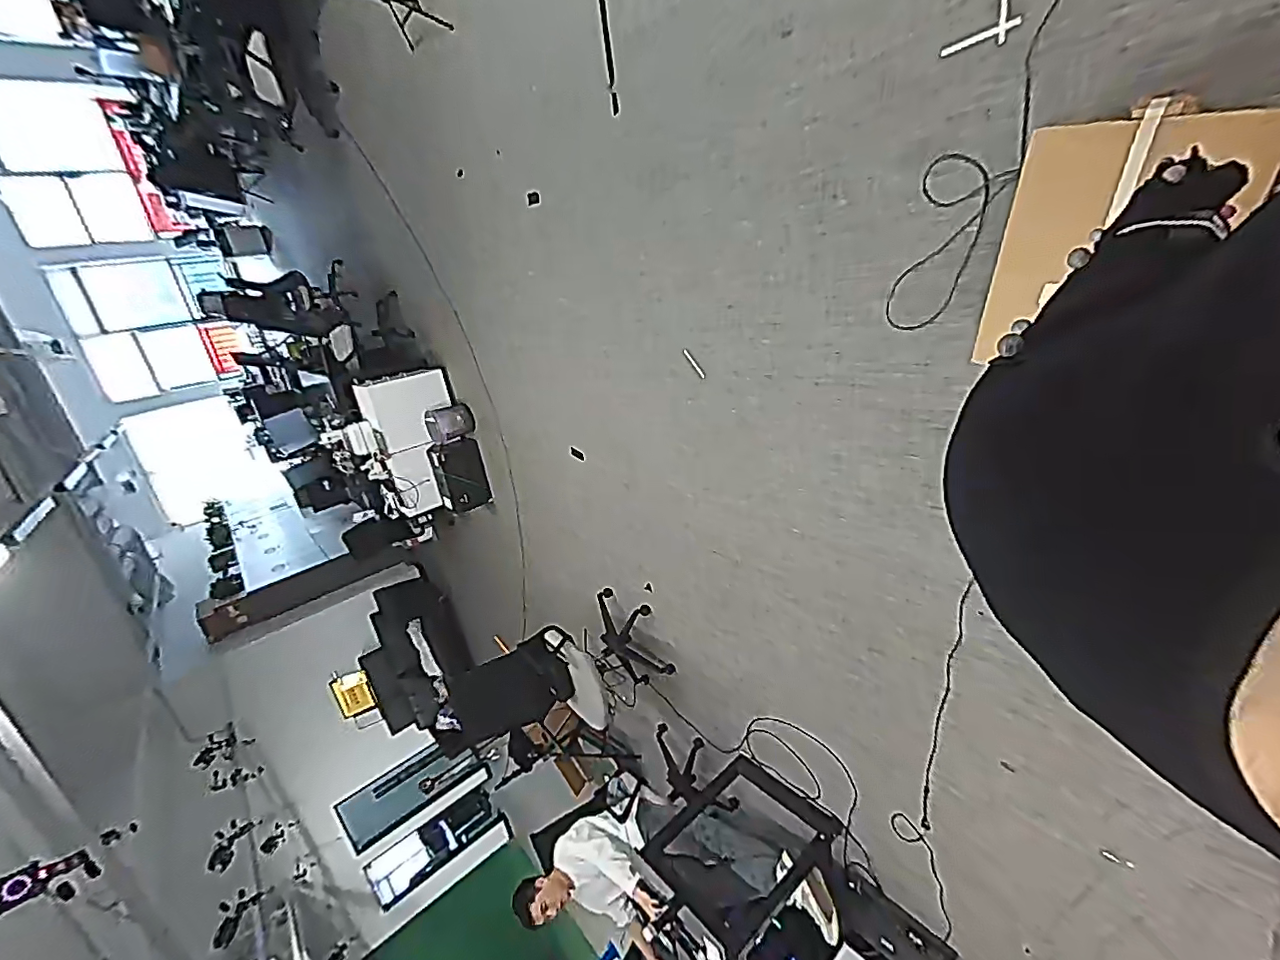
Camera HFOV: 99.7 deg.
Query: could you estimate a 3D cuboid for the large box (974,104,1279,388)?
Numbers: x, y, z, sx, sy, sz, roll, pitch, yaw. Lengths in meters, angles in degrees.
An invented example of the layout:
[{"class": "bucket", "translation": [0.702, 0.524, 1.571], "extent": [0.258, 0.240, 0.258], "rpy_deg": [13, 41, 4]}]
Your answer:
[{"class": "large box", "translation": [0.884, -0.431, 0.999], "extent": [0.320, 0.320, 0.408], "rpy_deg": [27, 131, 41]}]
